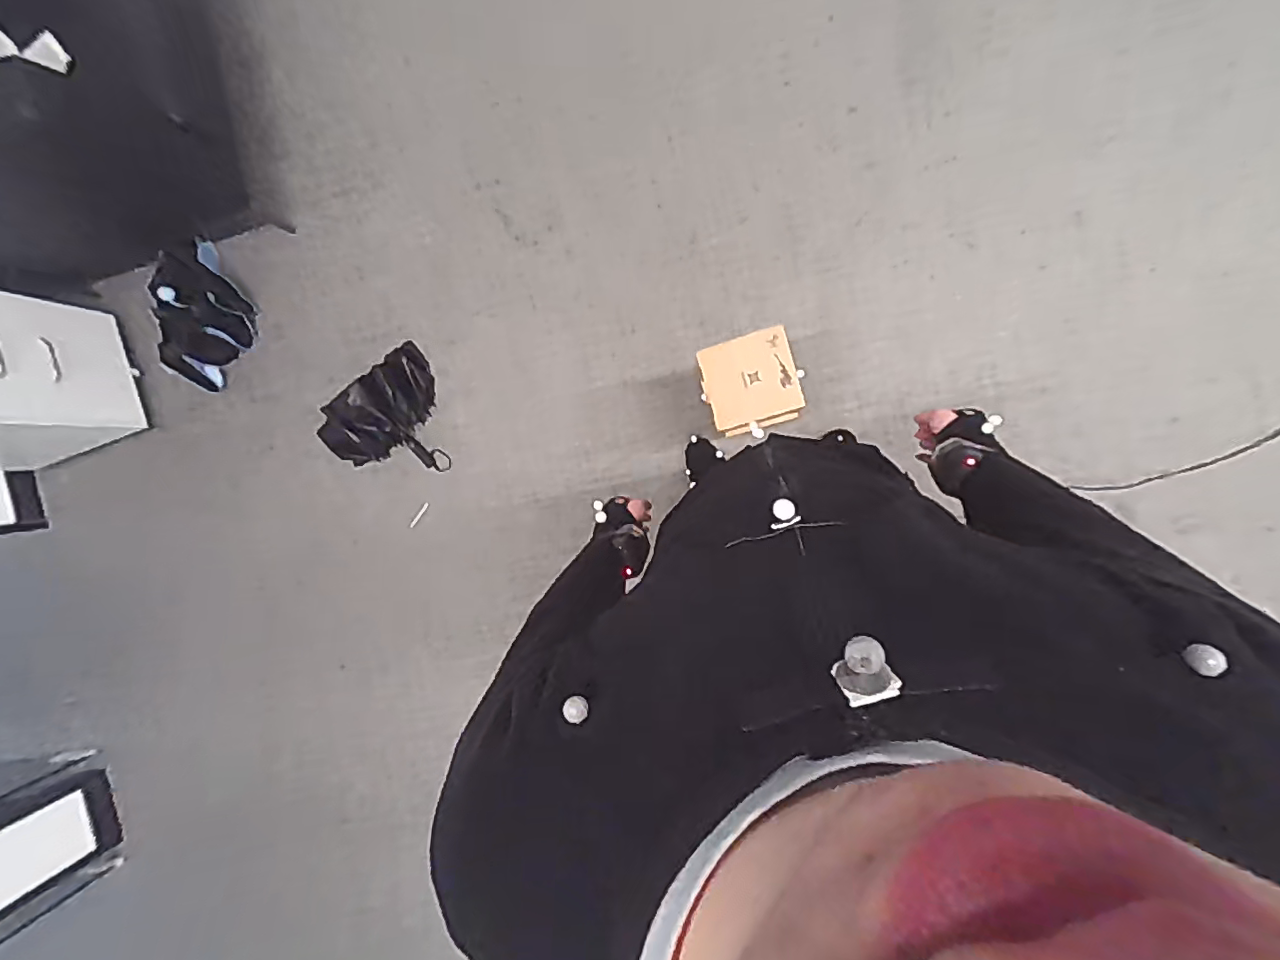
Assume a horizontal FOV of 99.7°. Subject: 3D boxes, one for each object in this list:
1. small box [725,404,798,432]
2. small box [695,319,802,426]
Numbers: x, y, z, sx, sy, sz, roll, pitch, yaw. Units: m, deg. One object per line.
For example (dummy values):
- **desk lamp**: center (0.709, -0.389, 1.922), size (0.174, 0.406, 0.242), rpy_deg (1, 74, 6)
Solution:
- **small box**: center (0.266, -0.217, 1.282), size (0.168, 0.176, 0.179), rpy_deg (-15, 91, 13)
- **small box**: center (0.227, -0.212, 1.123), size (0.179, 0.176, 0.168), rpy_deg (-15, 90, 13)
